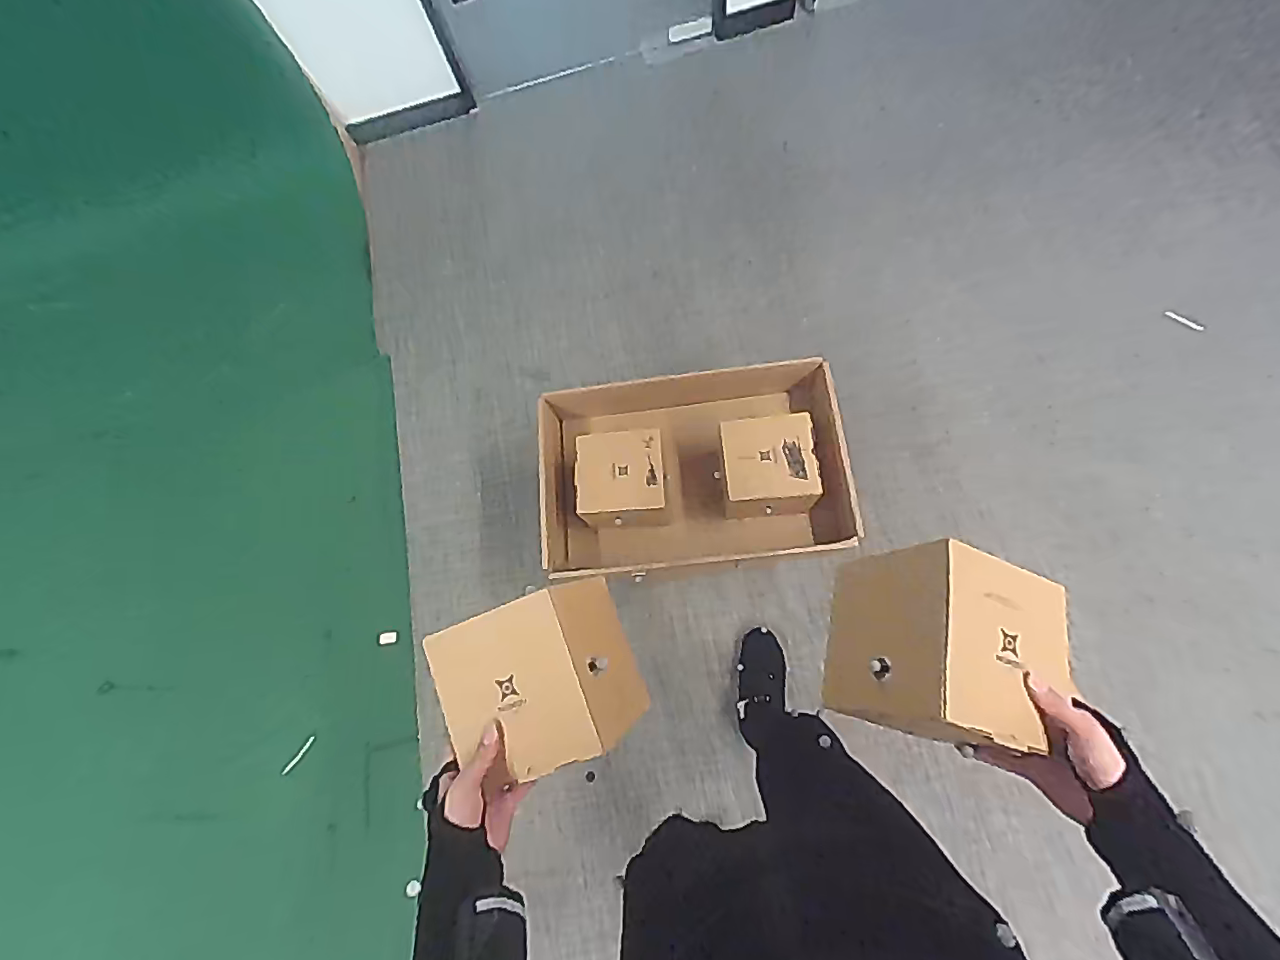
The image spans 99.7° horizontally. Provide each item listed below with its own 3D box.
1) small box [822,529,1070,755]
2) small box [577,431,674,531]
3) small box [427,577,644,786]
[{"bbox_3d":[0.323,0.178,0.594,0.168,0.176,0.179,22,65,-13],"label":"small box"},{"bbox_3d":[-0.027,0.009,1.144,0.179,0.176,0.168,-4,73,8],"label":"small box"},{"bbox_3d":[-0.114,0.222,0.646,0.168,0.176,0.179,-24,79,13],"label":"small box"}]
